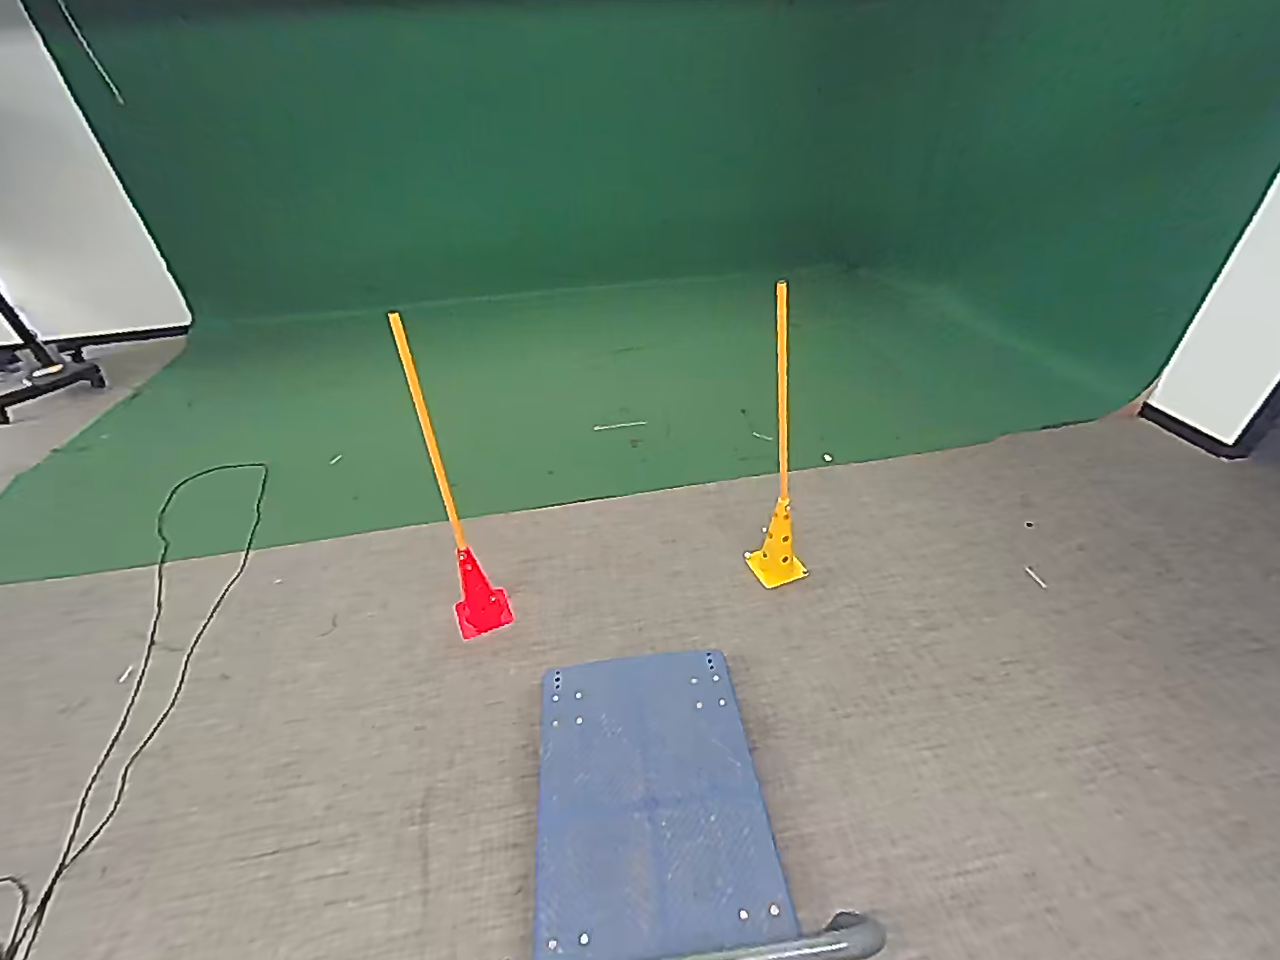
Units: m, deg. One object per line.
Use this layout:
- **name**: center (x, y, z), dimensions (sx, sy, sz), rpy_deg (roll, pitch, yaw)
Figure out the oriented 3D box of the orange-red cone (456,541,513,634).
- **orange-red cone**: center (-0.619, 0.366, 2.003), dimensions (0.199, 0.360, 0.198), rpy_deg (-19, 39, -17)
